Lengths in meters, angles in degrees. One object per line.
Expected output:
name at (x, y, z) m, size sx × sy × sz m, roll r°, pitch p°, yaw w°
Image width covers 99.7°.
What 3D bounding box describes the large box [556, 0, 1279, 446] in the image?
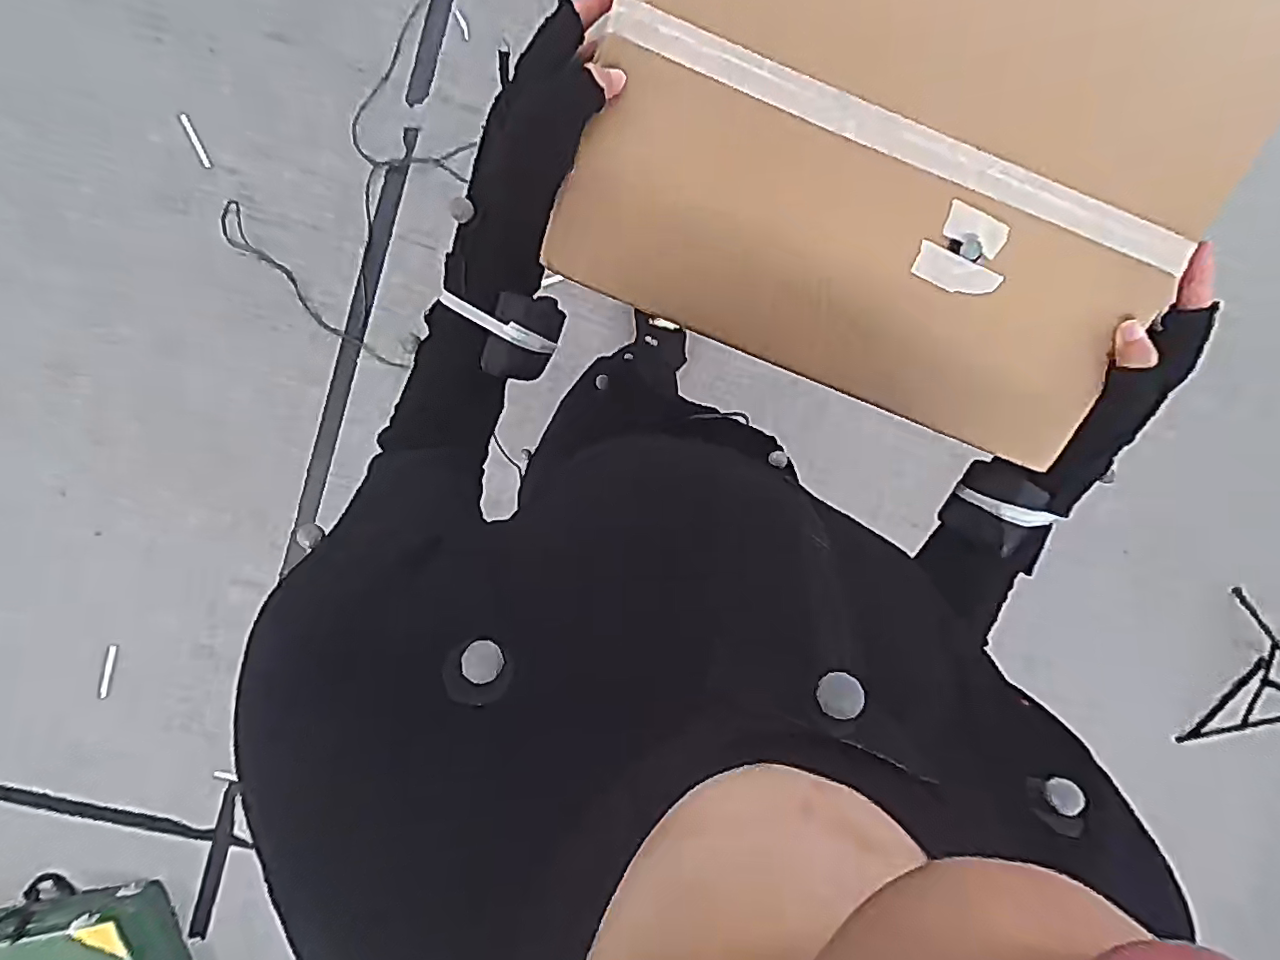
large box at (0.181, -0.274, 0.502) m, size 0.408 × 0.320 × 0.320 m, roll 22°, pitch 109°, yaw -4°
